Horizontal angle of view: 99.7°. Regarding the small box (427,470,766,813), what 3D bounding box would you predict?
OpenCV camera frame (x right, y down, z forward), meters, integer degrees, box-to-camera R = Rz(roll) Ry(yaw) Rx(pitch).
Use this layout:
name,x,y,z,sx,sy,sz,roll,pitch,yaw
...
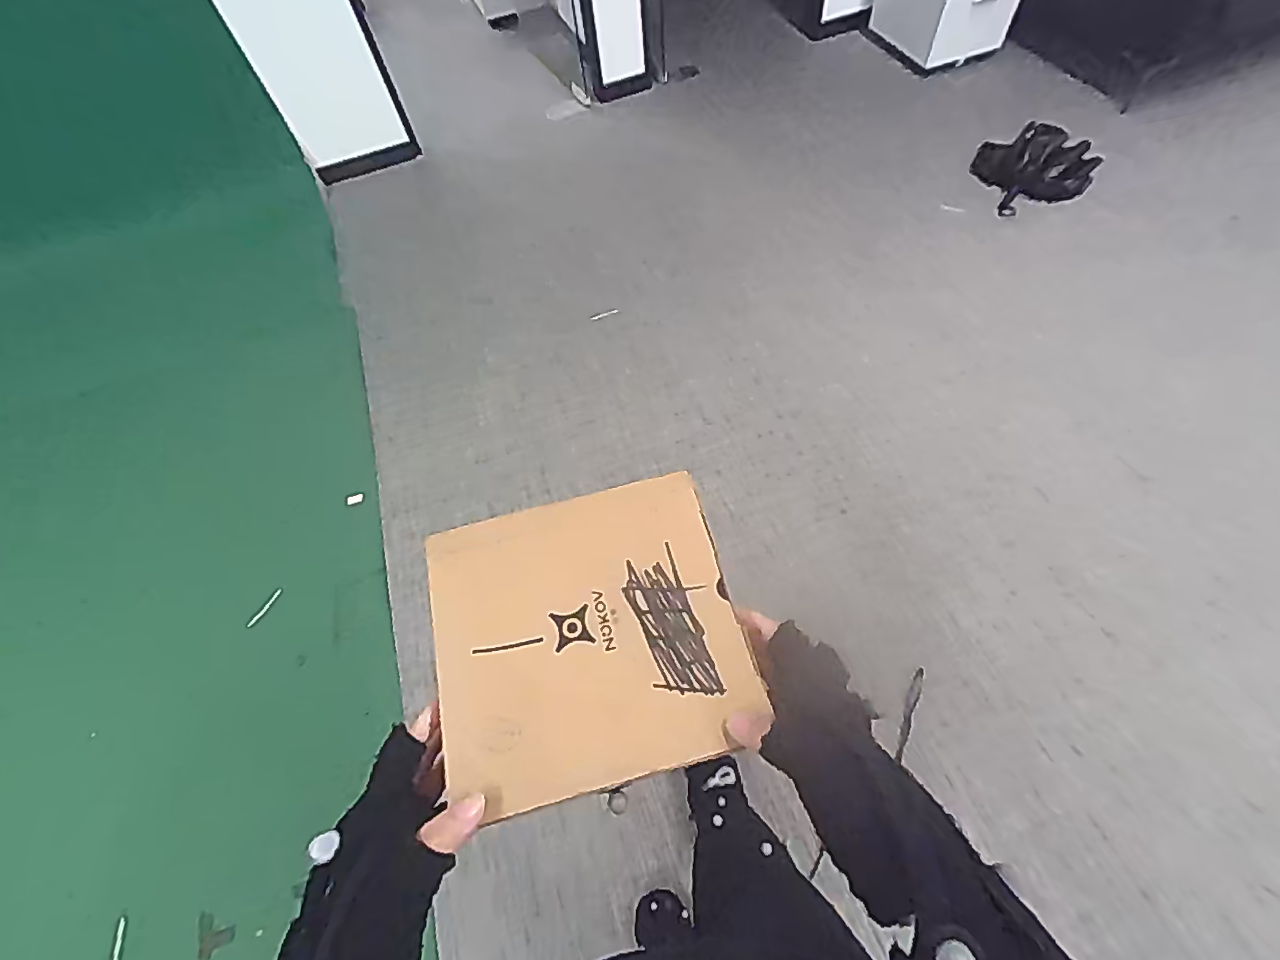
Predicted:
name,x,y,z,sx,sy,sz,roll,pitch,yaw
small box,-0.032,0.117,0.391,0.179,0.176,0.168,-14,63,-5
